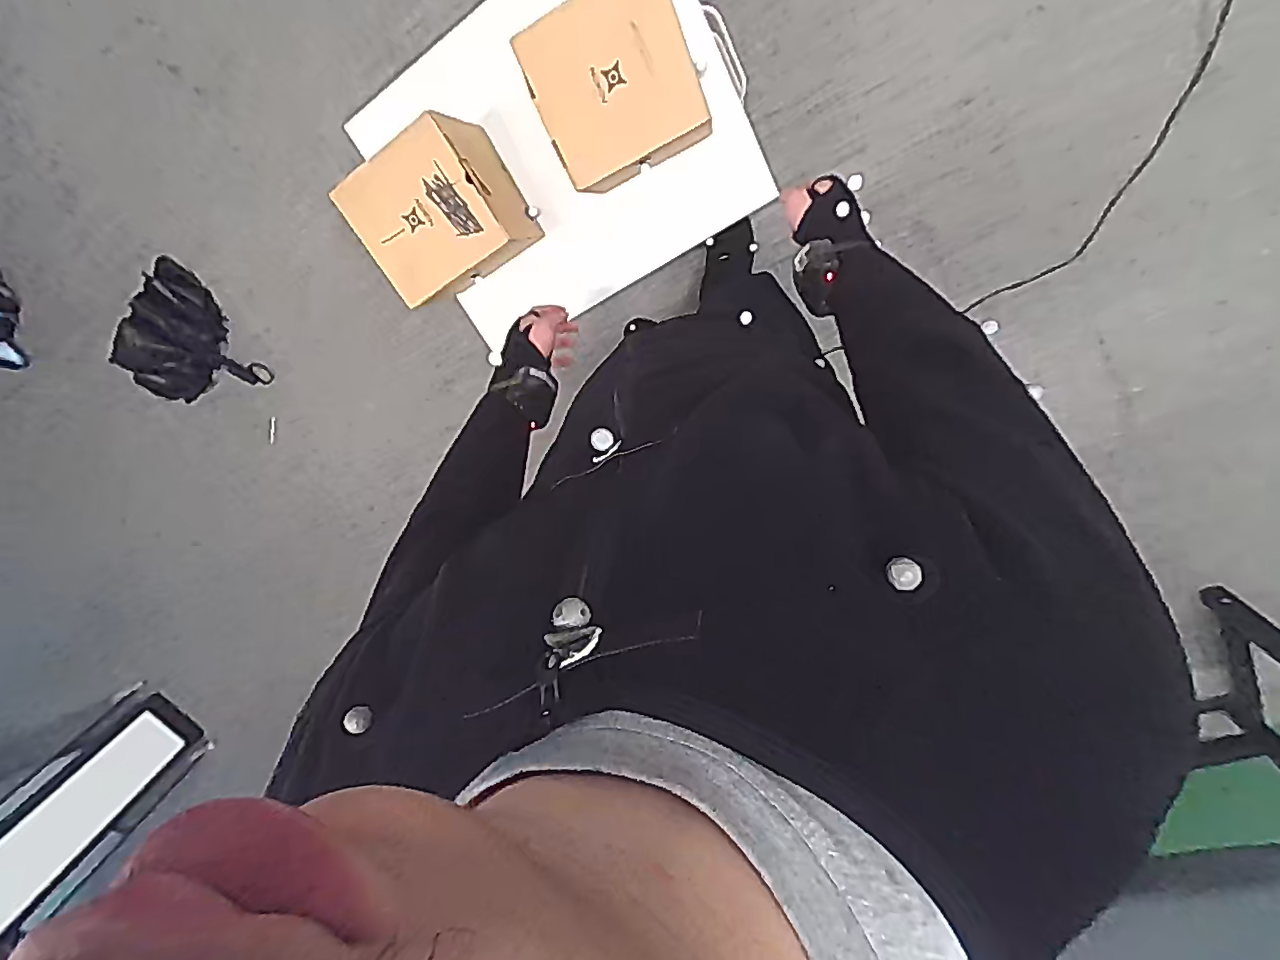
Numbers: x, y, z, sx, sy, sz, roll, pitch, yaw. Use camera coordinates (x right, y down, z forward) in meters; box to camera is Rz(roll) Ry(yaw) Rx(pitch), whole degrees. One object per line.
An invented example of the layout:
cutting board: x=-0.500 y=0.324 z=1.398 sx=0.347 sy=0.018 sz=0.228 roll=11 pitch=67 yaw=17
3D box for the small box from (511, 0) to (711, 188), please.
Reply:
small box: x=-0.021 y=-0.477 z=0.659 sx=0.179 sy=0.176 sz=0.168 roll=-20 pitch=114 yaw=17
